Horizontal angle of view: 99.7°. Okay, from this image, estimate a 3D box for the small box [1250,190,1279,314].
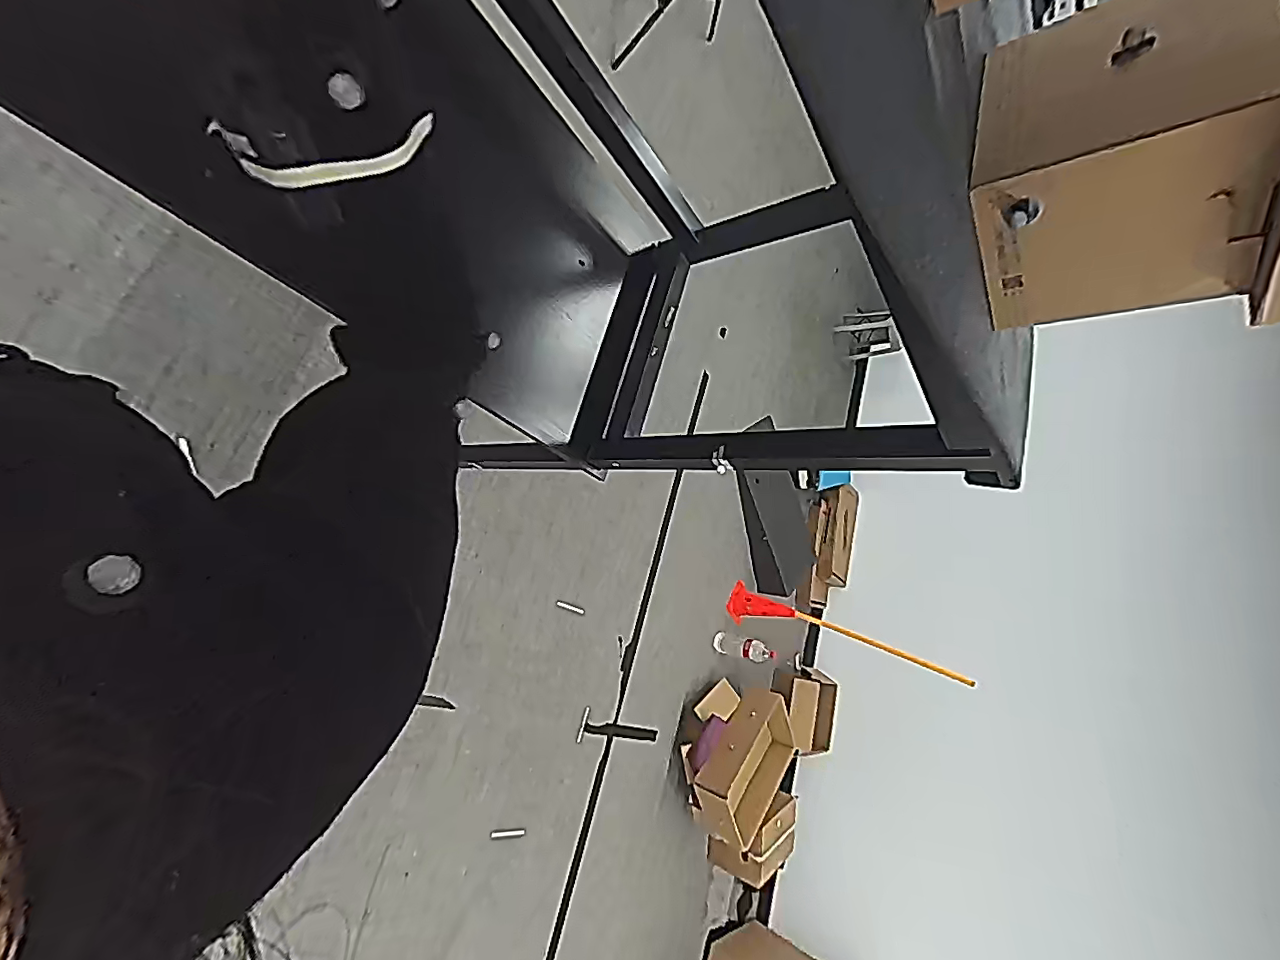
[{"bbox_3d":[0.501,-0.226,0.327,0.168,0.176,0.179,32,66,-47],"label":"small box"}]

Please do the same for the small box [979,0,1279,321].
[{"bbox_3d":[0.385,-0.257,0.440,0.168,0.176,0.179,40,60,-43],"label":"small box"}]
